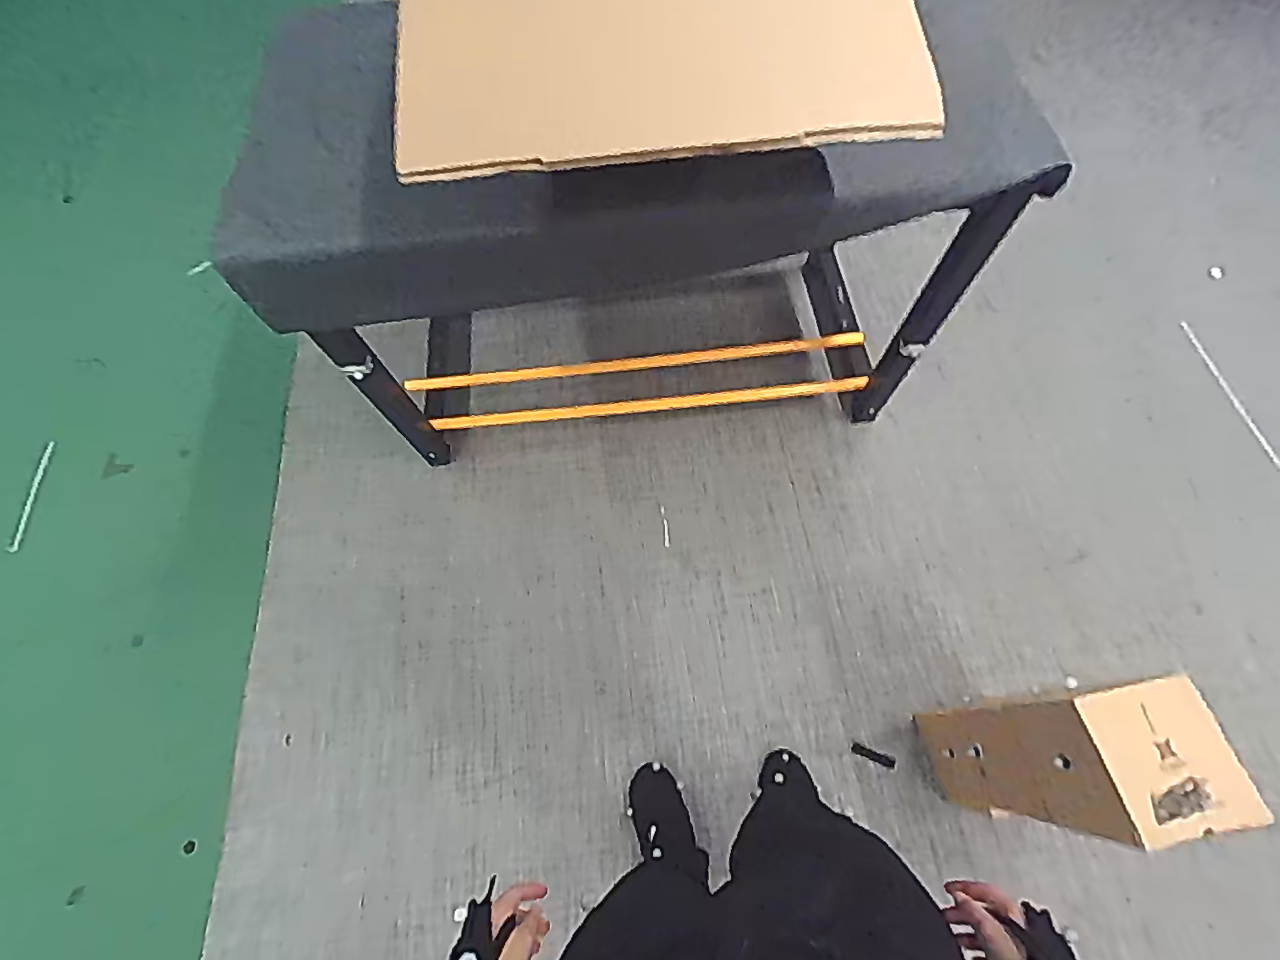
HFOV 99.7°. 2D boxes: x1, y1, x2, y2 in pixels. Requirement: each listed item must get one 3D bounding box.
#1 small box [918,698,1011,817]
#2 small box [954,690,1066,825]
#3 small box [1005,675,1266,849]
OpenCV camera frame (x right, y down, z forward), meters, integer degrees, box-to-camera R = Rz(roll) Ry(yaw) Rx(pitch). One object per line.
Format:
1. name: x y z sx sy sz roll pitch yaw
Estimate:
1. small box: 0.678 0.529 1.051 0.168 0.176 0.179 -12 66 -2
2. small box: 0.675 0.453 0.906 0.179 0.176 0.168 -12 65 -2
3. small box: 0.667 0.384 0.757 0.168 0.176 0.179 -11 65 -2
